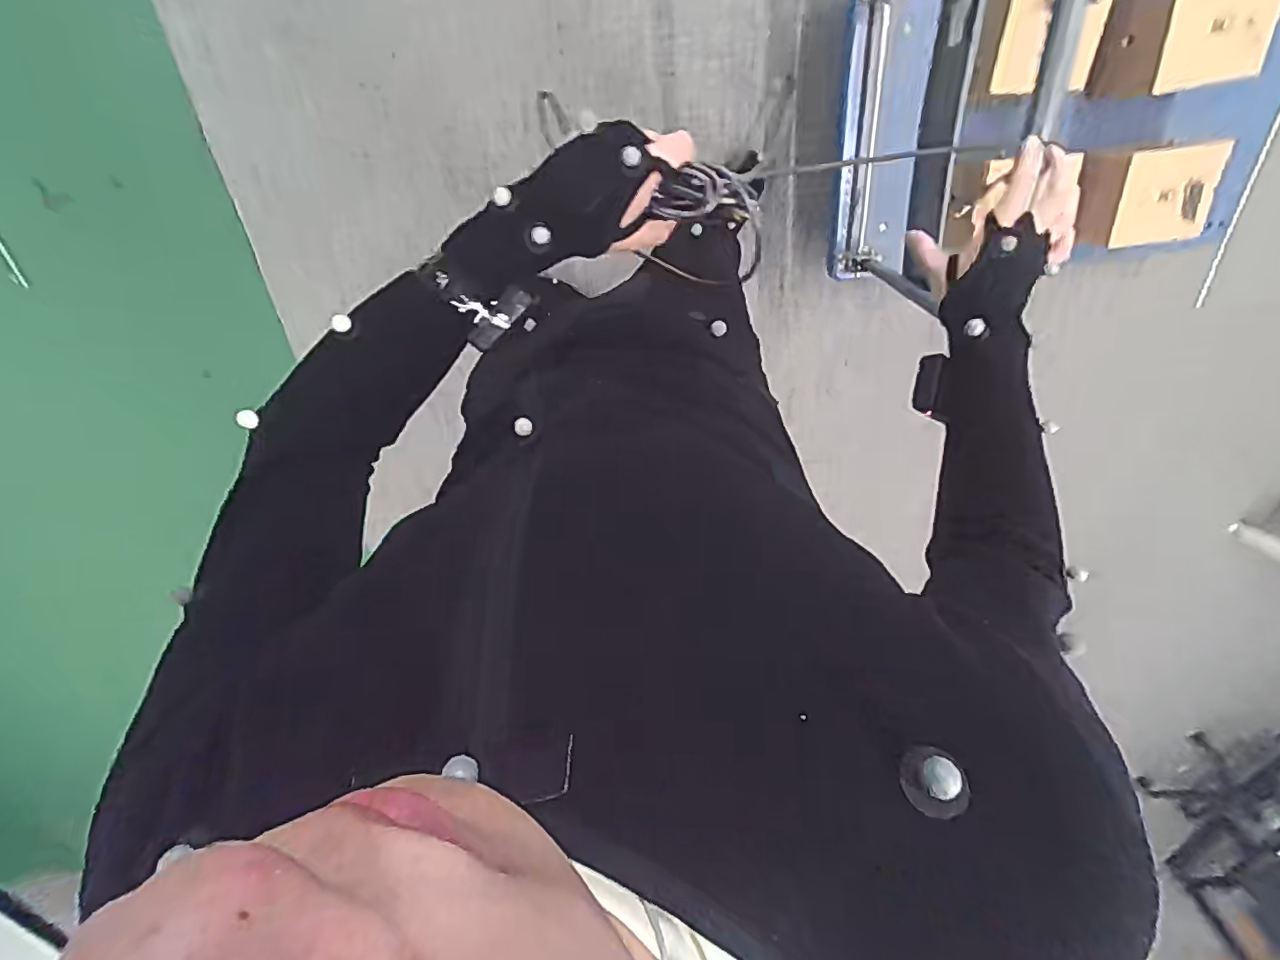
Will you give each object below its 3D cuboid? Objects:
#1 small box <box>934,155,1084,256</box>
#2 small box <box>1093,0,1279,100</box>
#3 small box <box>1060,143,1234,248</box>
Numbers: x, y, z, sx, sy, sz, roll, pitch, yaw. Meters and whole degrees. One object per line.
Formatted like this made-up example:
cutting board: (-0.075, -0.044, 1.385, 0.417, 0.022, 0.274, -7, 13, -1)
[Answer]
small box: (0.742, -0.567, 1.111, 0.179, 0.176, 0.168, -3, 121, 4)
small box: (0.972, -0.798, 0.968, 0.179, 0.176, 0.168, -7, 121, 5)
small box: (1.006, -0.579, 1.097, 0.179, 0.176, 0.168, -5, 120, 5)
